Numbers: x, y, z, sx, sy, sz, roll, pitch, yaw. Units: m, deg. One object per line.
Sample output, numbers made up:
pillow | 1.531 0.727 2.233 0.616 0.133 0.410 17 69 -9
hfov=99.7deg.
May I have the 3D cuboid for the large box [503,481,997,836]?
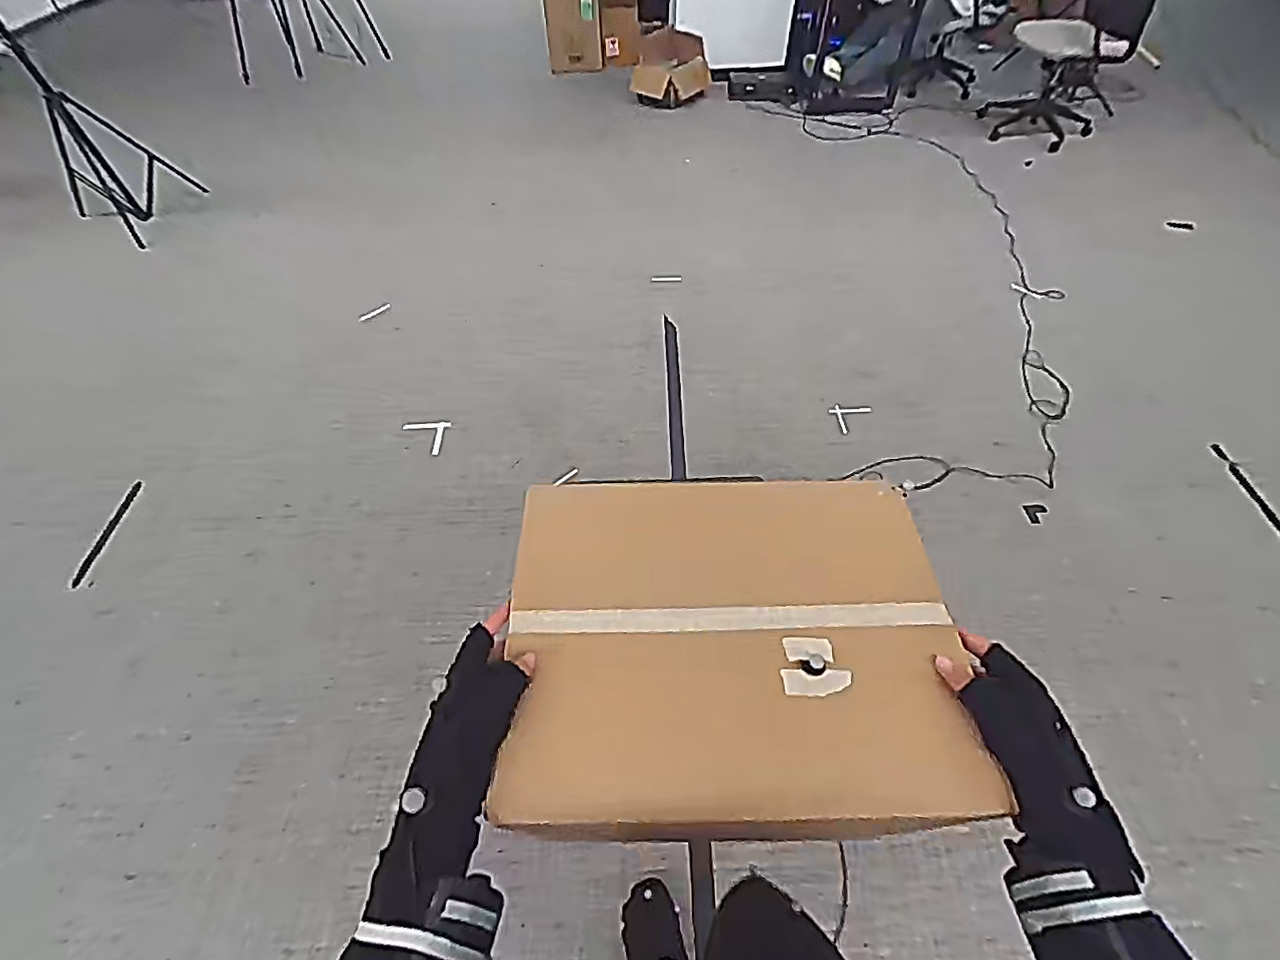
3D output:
large box | 0.082 0.216 0.632 0.408 0.320 0.320 -1 55 -1
